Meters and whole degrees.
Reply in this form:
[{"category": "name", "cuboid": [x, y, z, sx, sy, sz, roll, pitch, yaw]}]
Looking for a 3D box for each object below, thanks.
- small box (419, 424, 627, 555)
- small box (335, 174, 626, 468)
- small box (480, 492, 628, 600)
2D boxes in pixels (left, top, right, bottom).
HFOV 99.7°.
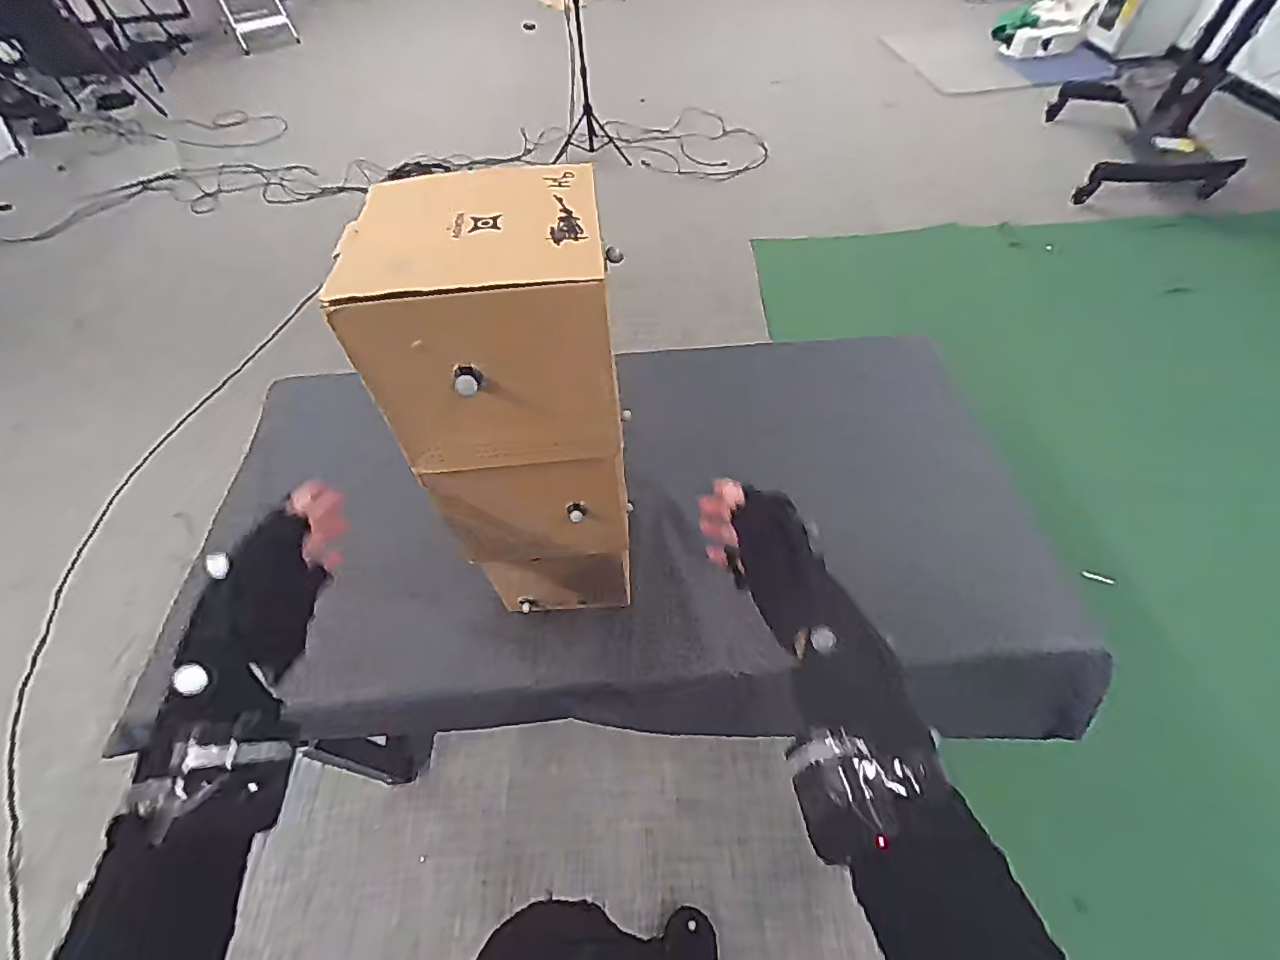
[{"category": "small box", "cuboid": [-0.107, -0.038, 0.564, 0.179, 0.176, 0.168, -7, 53, -3]}, {"category": "small box", "cuboid": [-0.111, -0.126, 0.449, 0.179, 0.176, 0.168, -7, 51, -4]}, {"category": "small box", "cuboid": [-0.102, 0.051, 0.720, 0.168, 0.176, 0.179, -3, 53, 1]}]
